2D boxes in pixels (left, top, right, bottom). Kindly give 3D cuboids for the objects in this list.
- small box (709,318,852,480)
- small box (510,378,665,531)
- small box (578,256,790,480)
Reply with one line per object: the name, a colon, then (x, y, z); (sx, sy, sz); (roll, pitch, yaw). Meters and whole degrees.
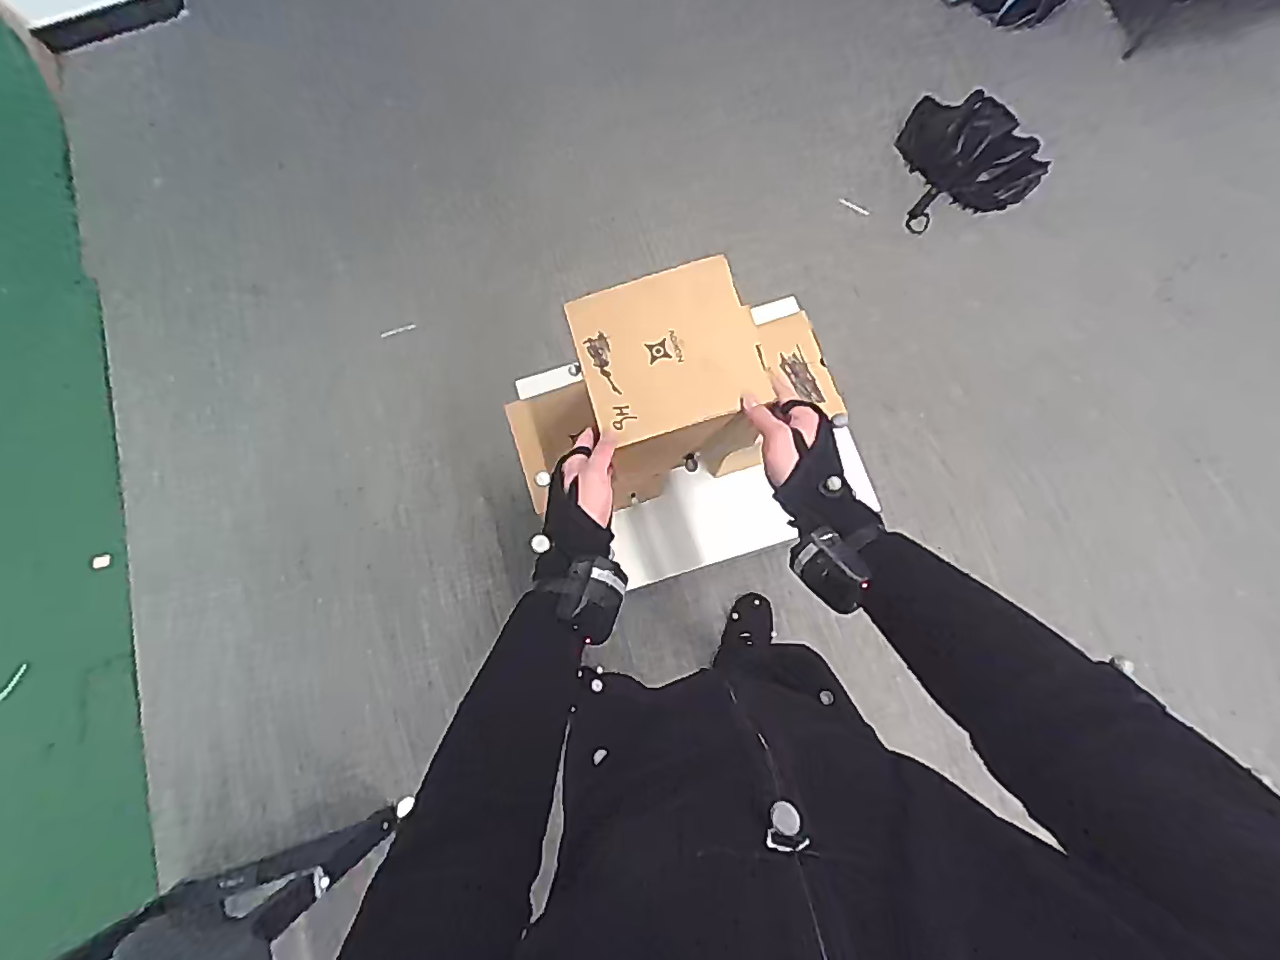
small box: (0.183, -0.112, 0.813); (0.179, 0.176, 0.168); (-17, 77, -1)
small box: (-0.072, -0.035, 0.802); (0.179, 0.176, 0.168); (-18, 76, -3)
small box: (0.042, -0.112, 0.607); (0.179, 0.176, 0.168); (-16, 77, -1)
